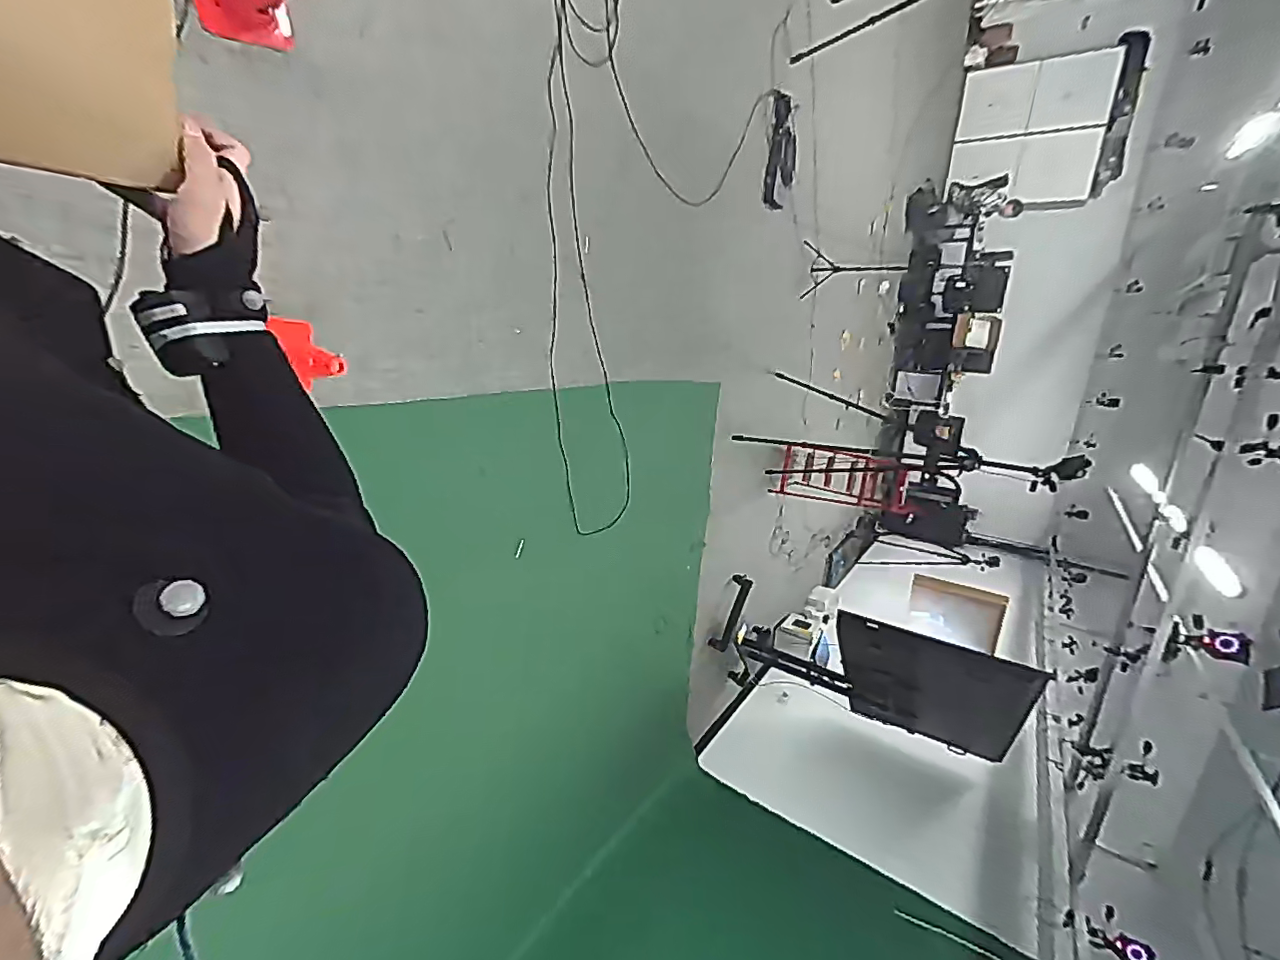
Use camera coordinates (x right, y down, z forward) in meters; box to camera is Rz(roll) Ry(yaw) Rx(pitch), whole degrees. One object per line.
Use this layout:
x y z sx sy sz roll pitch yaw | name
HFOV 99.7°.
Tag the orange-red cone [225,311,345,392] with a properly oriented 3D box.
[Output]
-0.850 -0.301 1.356 0.199 0.360 0.198 -7 108 -57 | orange-red cone
